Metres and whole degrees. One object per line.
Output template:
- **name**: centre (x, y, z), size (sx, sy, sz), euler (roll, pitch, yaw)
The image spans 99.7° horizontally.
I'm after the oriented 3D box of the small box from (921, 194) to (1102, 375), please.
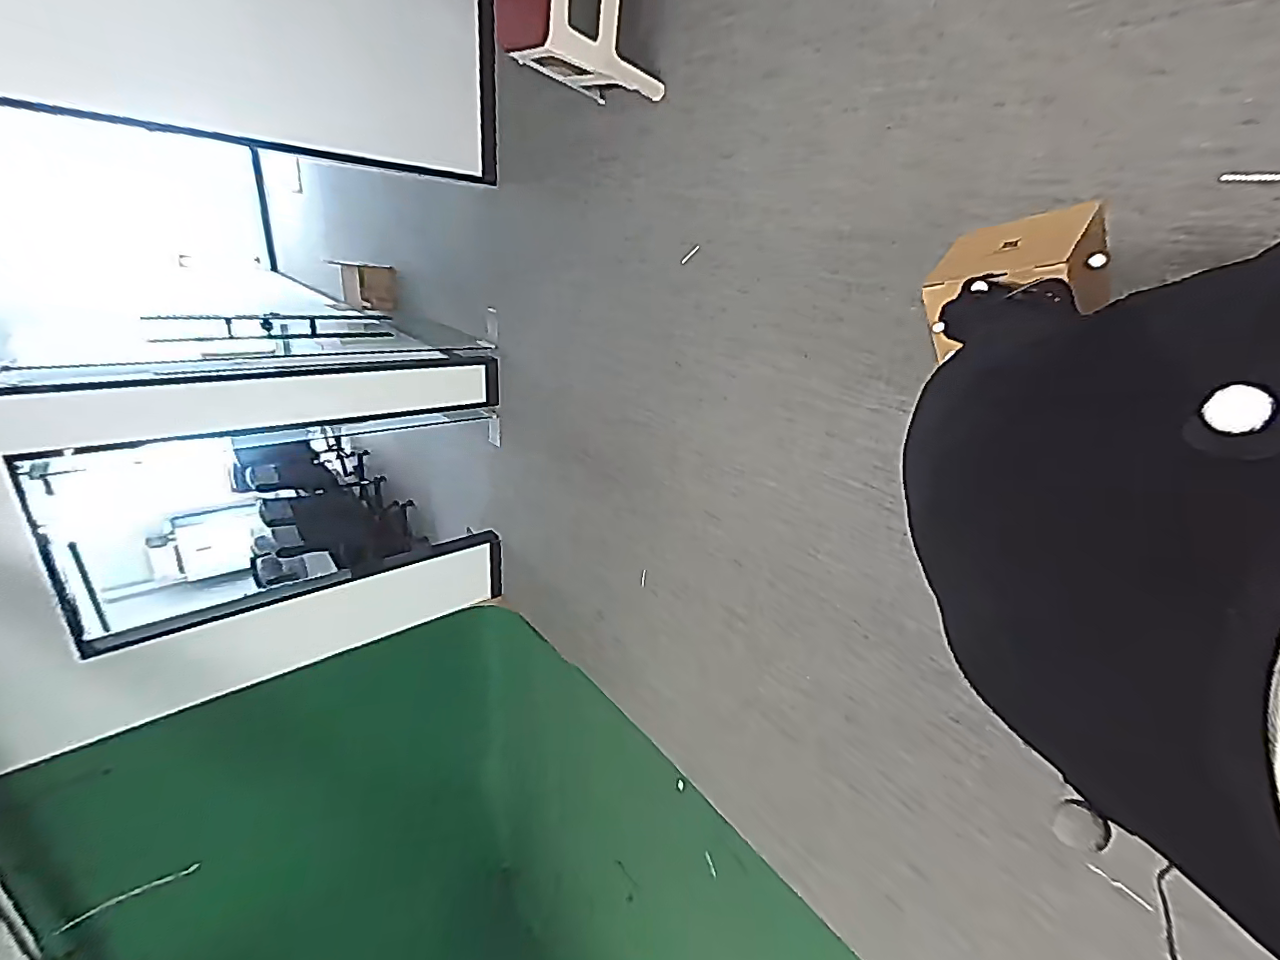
- **small box**: centre (0.533, -0.267, 0.771), size (0.168, 0.179, 0.176), euler (9, 139, 50)
